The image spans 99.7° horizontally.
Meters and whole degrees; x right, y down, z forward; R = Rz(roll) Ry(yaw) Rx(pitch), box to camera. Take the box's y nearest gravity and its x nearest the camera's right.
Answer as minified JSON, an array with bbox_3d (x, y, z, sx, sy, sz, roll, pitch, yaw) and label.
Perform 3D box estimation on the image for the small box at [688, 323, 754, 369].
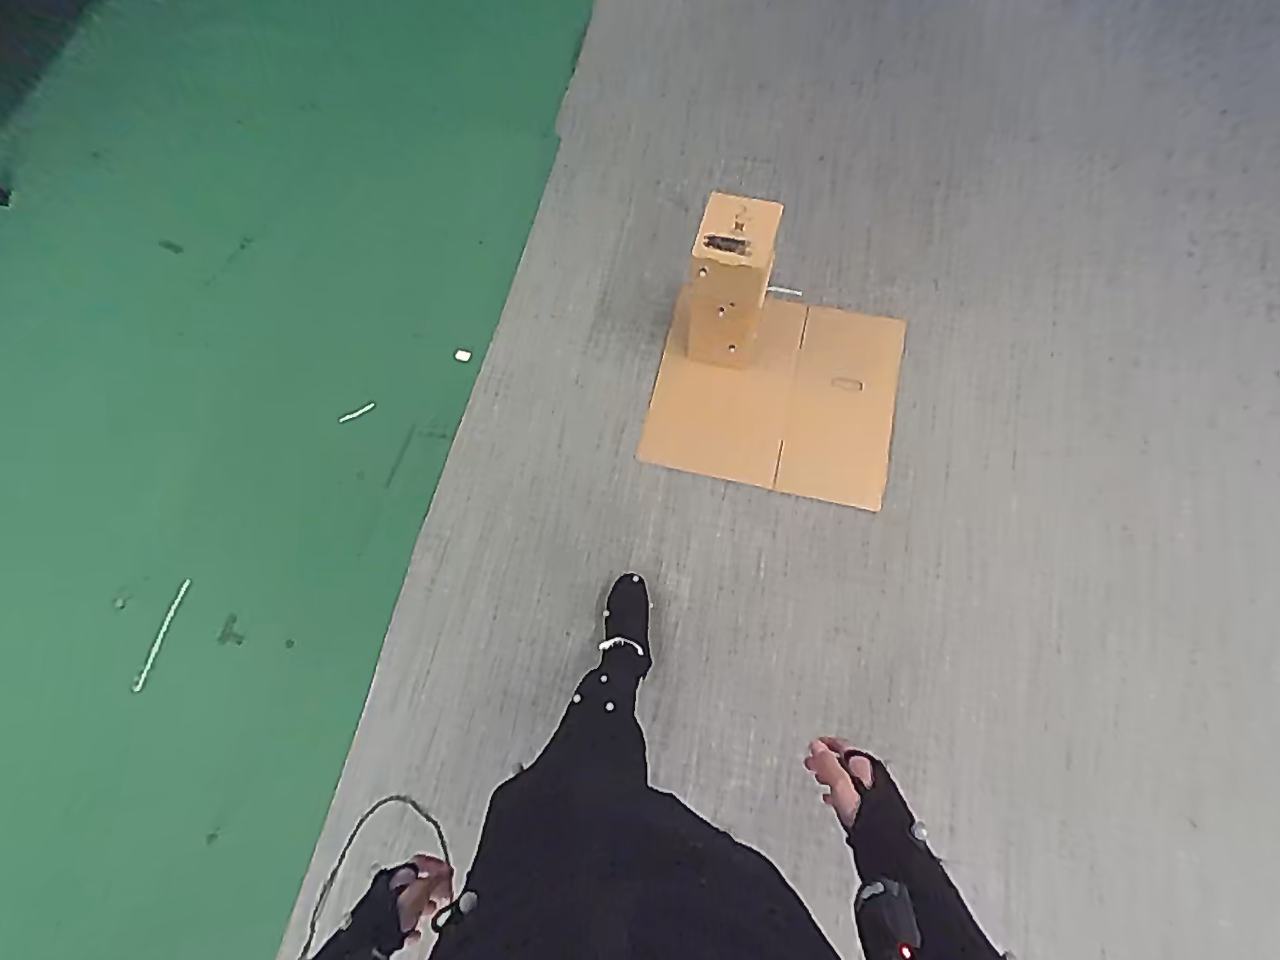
[{"bbox_3d":[0.244,-0.441,1.571,0.179,0.176,0.168,14,75,8],"label":"small box"}]

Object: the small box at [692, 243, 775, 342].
[{"bbox_3d":[0.239,-0.483,1.416,0.179,0.176,0.168,14,76,9],"label":"small box"}]
